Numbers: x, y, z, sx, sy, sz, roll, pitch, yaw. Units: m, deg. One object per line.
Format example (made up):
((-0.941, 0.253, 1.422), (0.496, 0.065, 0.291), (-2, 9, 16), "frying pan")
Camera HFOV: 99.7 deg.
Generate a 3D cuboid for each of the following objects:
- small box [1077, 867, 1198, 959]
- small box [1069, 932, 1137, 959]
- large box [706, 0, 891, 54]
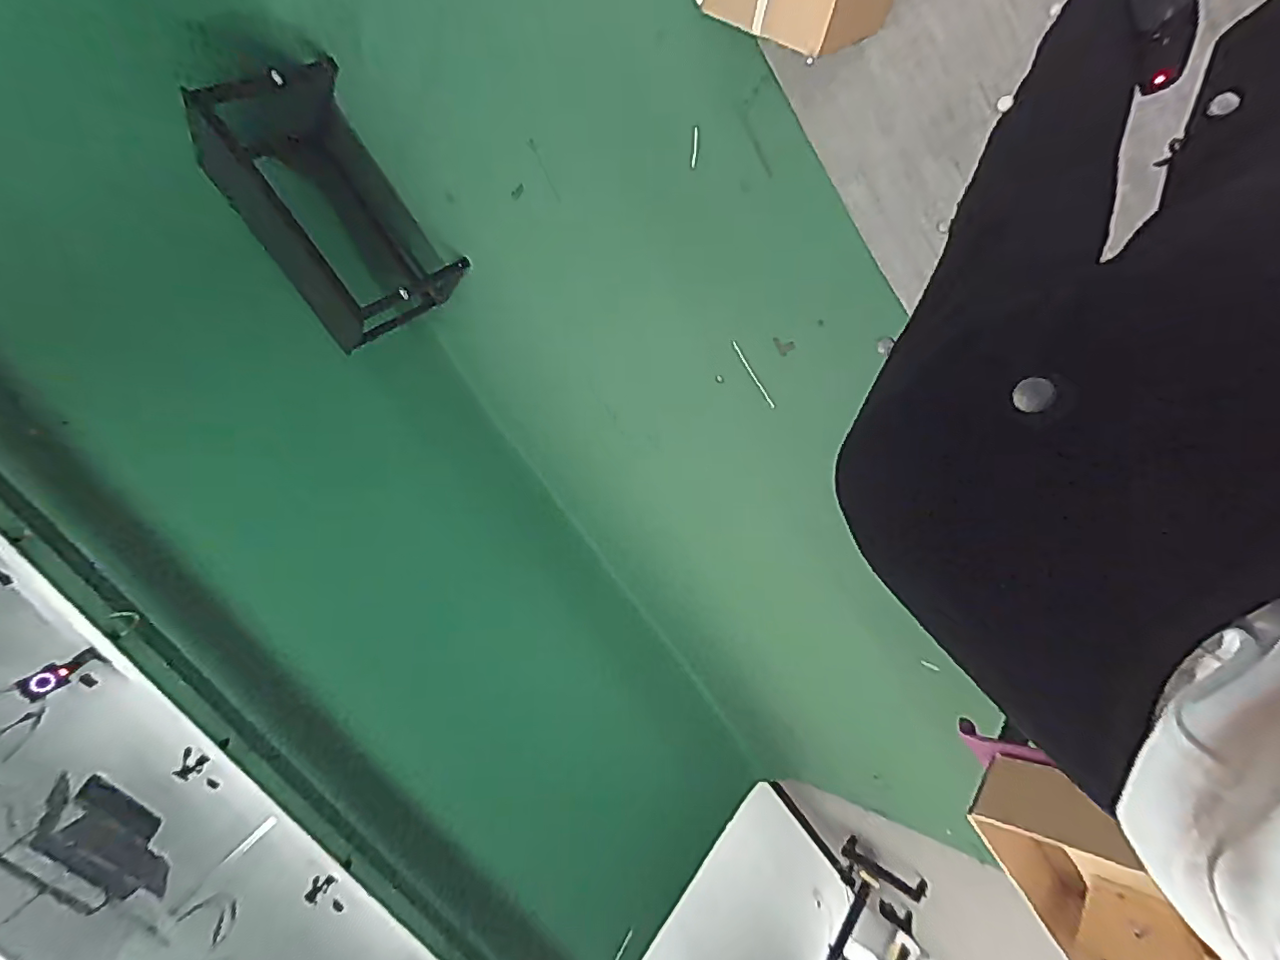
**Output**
((1.176, 1.072, 1.278), (0.179, 0.176, 0.168), (56, 149, -13), "small box")
((1.071, 1.169, 1.197), (0.179, 0.176, 0.168), (57, 149, -13), "small box")
((0.375, -1.173, 1.075), (0.320, 0.320, 0.408), (39, 151, 18), "large box")
